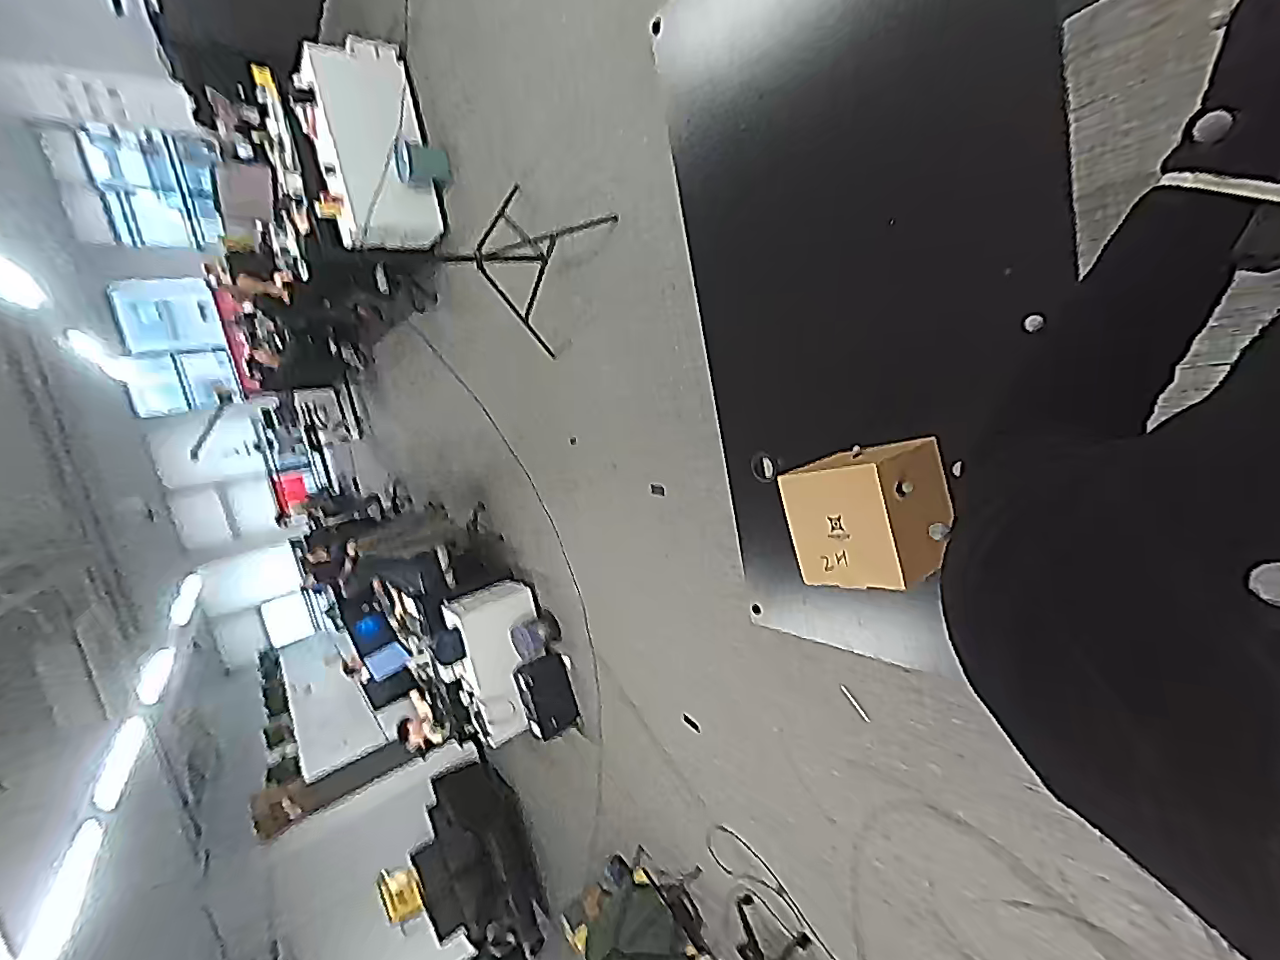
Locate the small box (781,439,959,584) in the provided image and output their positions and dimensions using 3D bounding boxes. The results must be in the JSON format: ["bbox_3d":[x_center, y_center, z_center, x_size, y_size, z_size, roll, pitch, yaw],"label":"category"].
[{"bbox_3d":[0.347,0.043,0.816,0.168,0.176,0.179,-11,96,56],"label":"small box"}]
